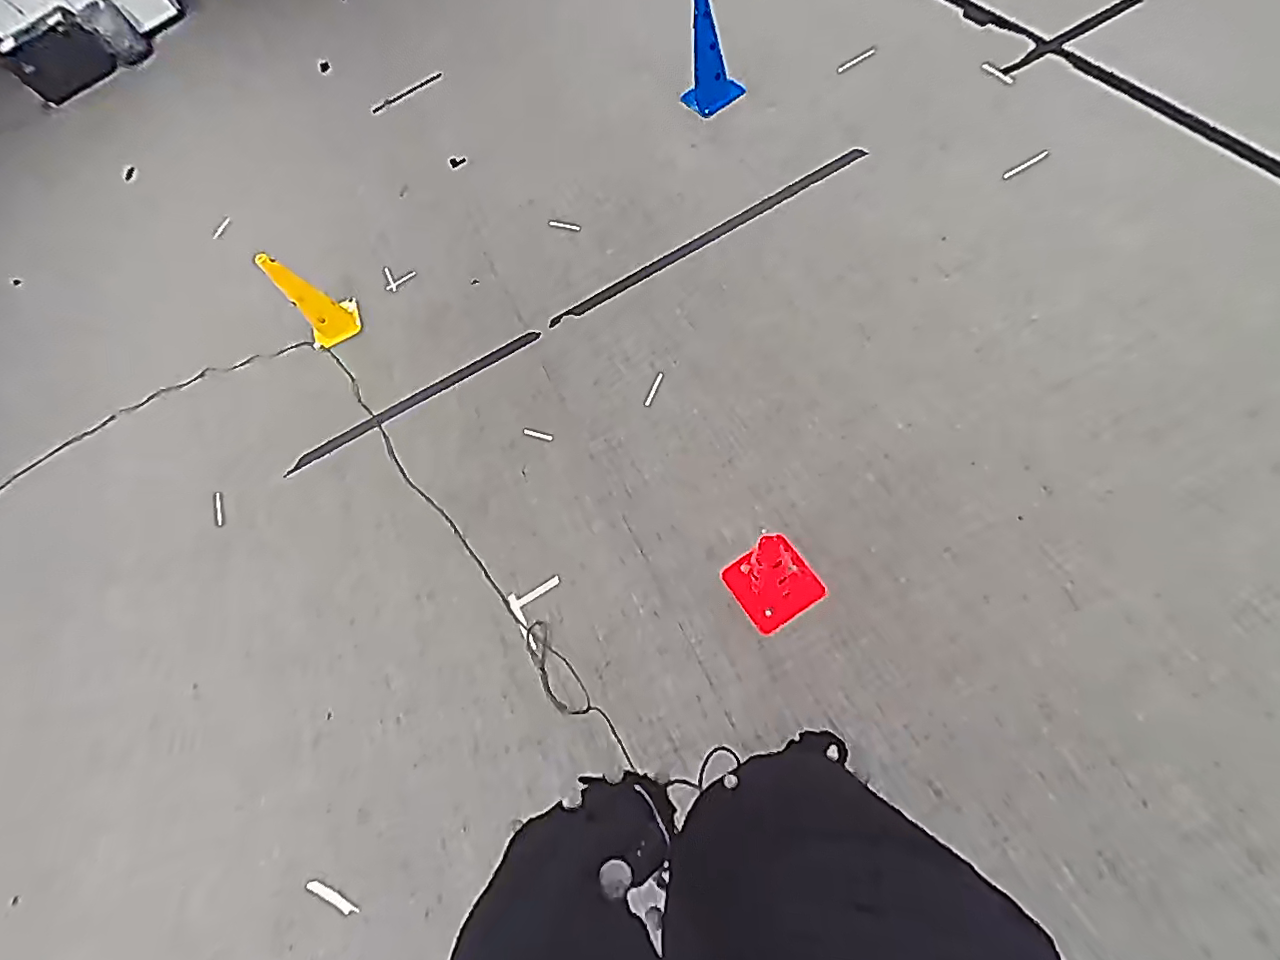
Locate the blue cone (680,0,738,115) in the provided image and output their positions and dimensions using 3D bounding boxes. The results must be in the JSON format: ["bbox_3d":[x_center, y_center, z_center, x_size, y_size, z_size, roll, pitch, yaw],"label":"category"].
[{"bbox_3d":[0.233,-1.600,2.004,0.193,0.380,0.192,-34,63,-1],"label":"blue cone"}]

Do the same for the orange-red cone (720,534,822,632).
[{"bbox_3d":[0.289,0.189,1.210,0.199,0.360,0.198,-33,64,-2],"label":"orange-red cone"}]
